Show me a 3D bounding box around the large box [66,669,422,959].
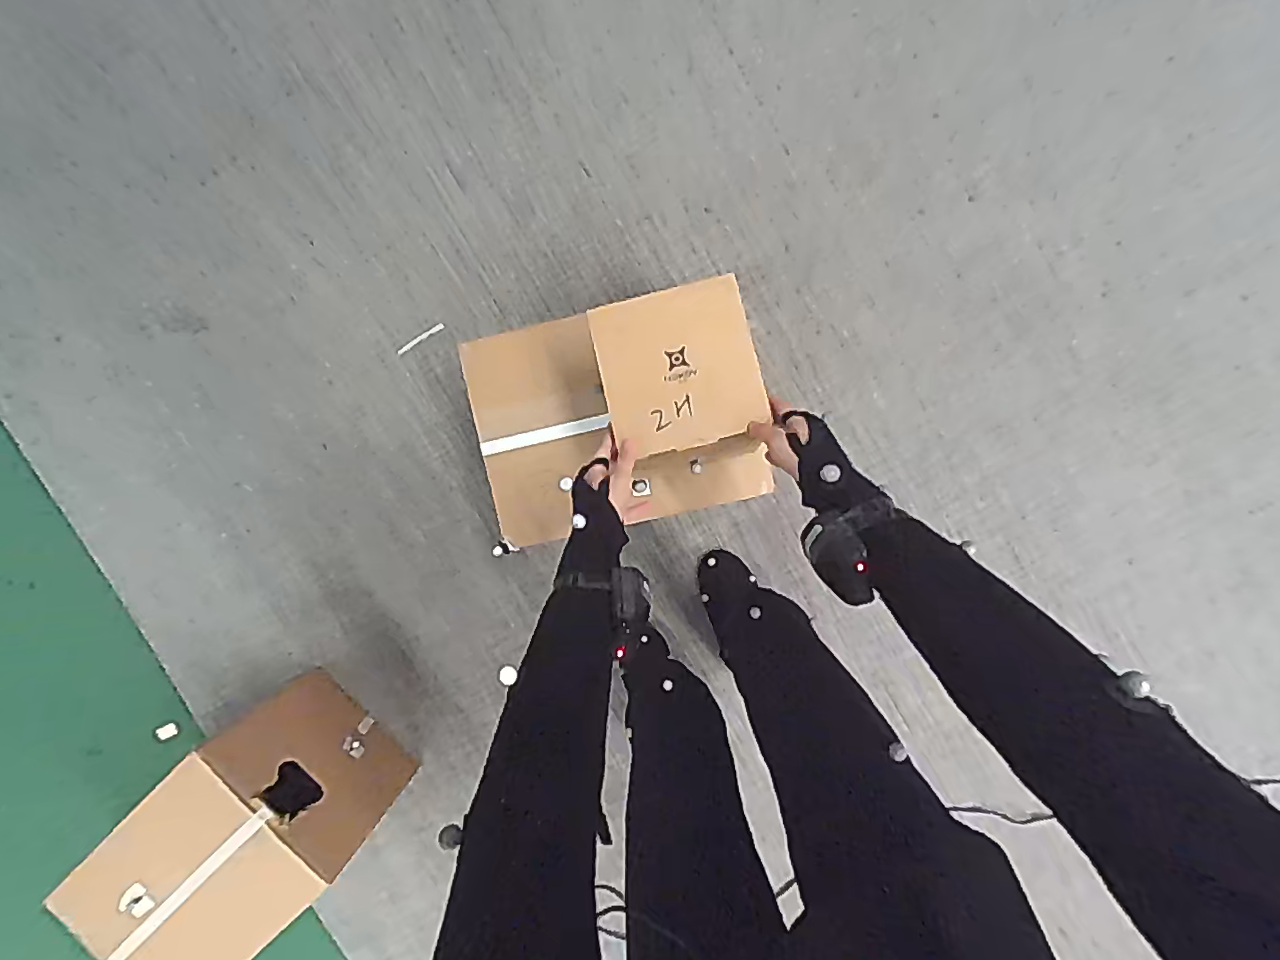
[{"bbox_3d":[-0.718,0.656,1.040,0.408,0.320,0.320,-44,90,7],"label":"large box"}]

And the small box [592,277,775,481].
[{"bbox_3d":[0.049,-0.107,0.647,0.168,0.176,0.179,-13,83,4],"label":"small box"}]
